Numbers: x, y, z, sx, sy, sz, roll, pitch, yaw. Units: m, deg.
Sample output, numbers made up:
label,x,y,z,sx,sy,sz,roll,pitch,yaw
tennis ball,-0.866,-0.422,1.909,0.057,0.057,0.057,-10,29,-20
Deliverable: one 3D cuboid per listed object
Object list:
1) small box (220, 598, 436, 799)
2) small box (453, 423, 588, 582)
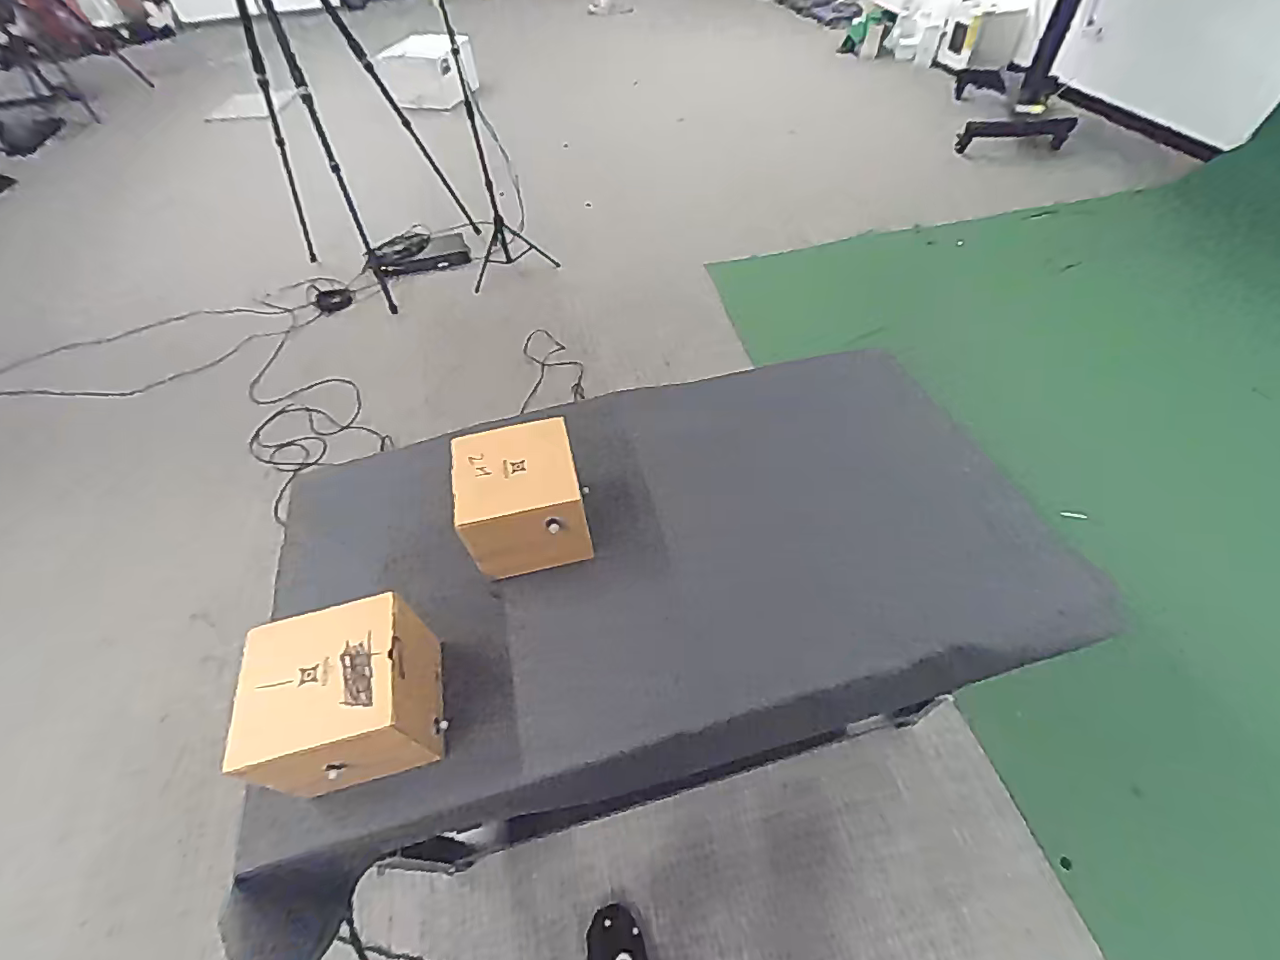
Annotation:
label,x,y,z,sx,sy,sz,roll,pitch,yaw
small box,-0.364,0.274,0.674,0.179,0.176,0.168,-14,52,-7
small box,-0.181,0.039,0.849,0.179,0.176,0.168,-12,53,-6
